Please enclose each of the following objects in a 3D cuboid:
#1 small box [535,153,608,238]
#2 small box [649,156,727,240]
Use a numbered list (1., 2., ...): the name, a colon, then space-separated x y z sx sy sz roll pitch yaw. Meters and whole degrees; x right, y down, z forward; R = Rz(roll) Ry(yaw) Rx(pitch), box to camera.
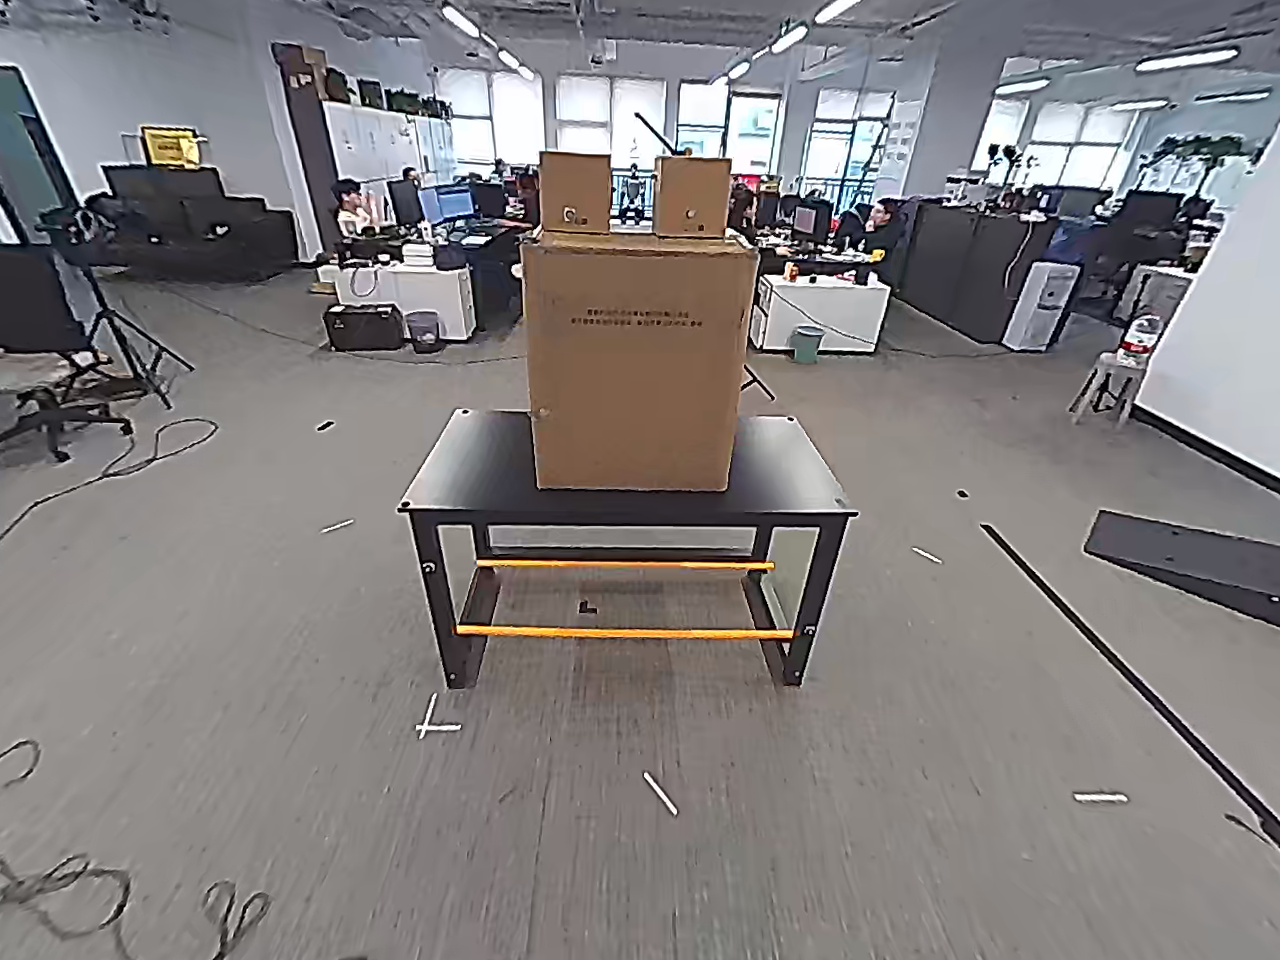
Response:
1. small box: -0.162 -0.697 1.323 0.168 0.176 0.179 -1 32 -4
2. small box: 0.110 -0.693 1.327 0.168 0.176 0.179 -2 31 -4
